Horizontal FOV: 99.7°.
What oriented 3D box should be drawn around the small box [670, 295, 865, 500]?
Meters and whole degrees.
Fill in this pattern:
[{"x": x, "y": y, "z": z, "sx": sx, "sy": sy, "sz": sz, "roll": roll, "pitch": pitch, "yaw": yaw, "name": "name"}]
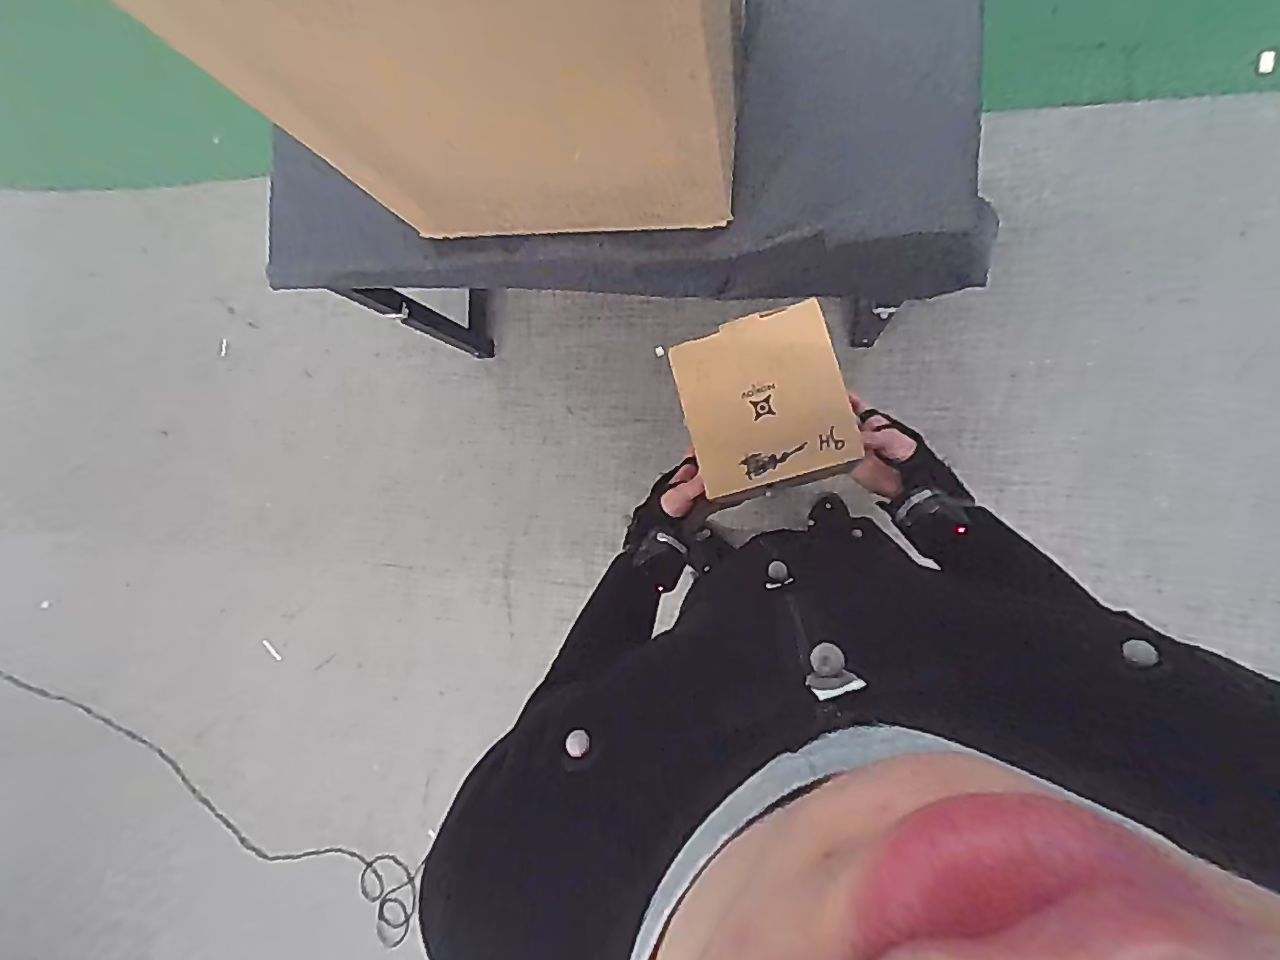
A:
[{"x": 0.149, "y": -0.082, "z": 0.639, "sx": 0.168, "sy": 0.176, "sz": 0.179, "roll": -17, "pitch": 81, "yaw": 15, "name": "small box"}]
